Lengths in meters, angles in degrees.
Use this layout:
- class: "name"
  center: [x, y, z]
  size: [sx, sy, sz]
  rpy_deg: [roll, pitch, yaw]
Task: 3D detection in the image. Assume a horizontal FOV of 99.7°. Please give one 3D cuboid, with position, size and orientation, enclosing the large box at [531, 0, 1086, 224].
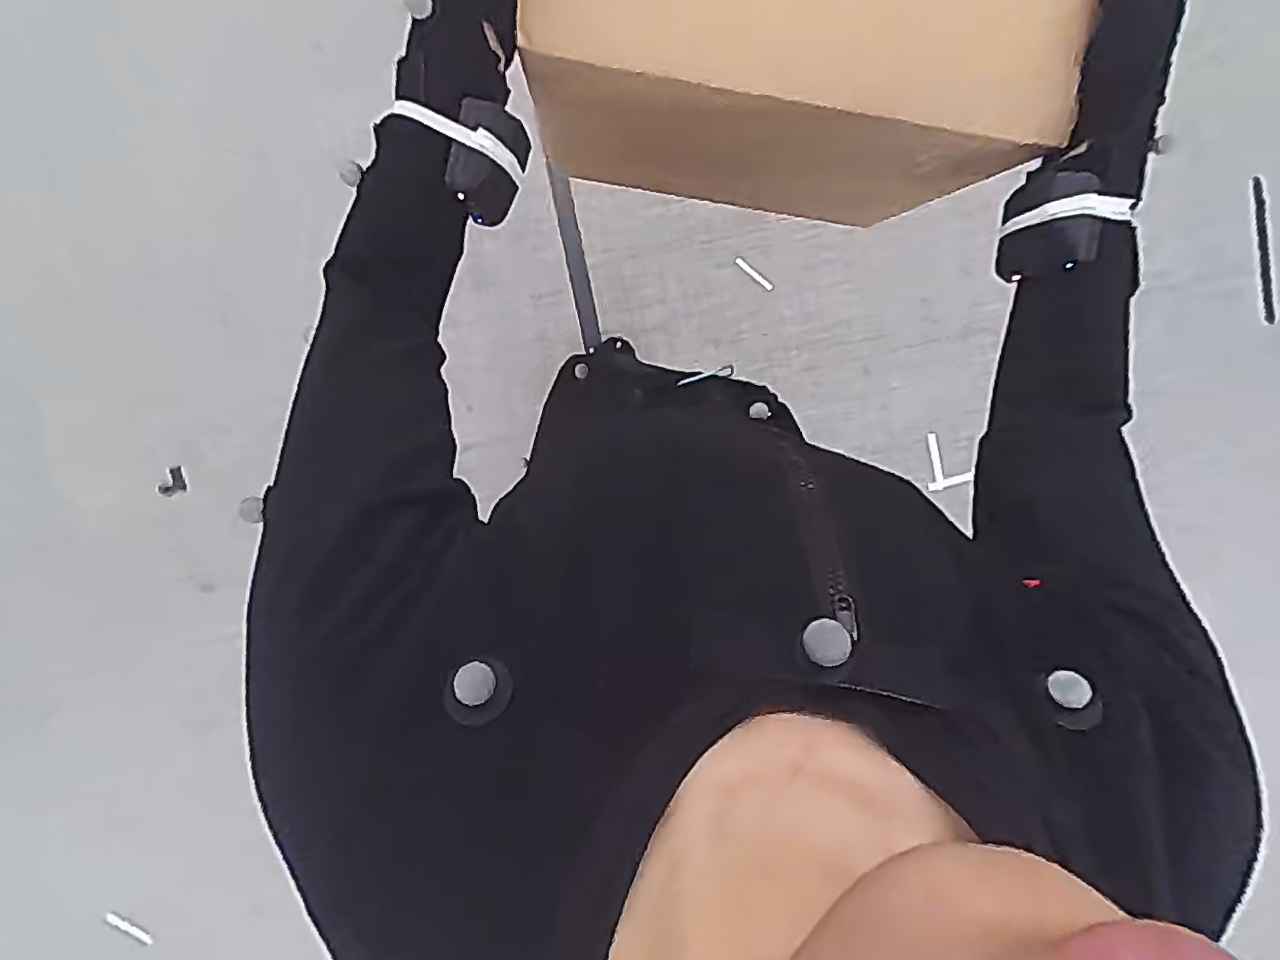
- class: "large box"
  center: [0.124, -0.461, 0.504]
  size: [0.408, 0.320, 0.320]
  rpy_deg: [7, 105, -7]
